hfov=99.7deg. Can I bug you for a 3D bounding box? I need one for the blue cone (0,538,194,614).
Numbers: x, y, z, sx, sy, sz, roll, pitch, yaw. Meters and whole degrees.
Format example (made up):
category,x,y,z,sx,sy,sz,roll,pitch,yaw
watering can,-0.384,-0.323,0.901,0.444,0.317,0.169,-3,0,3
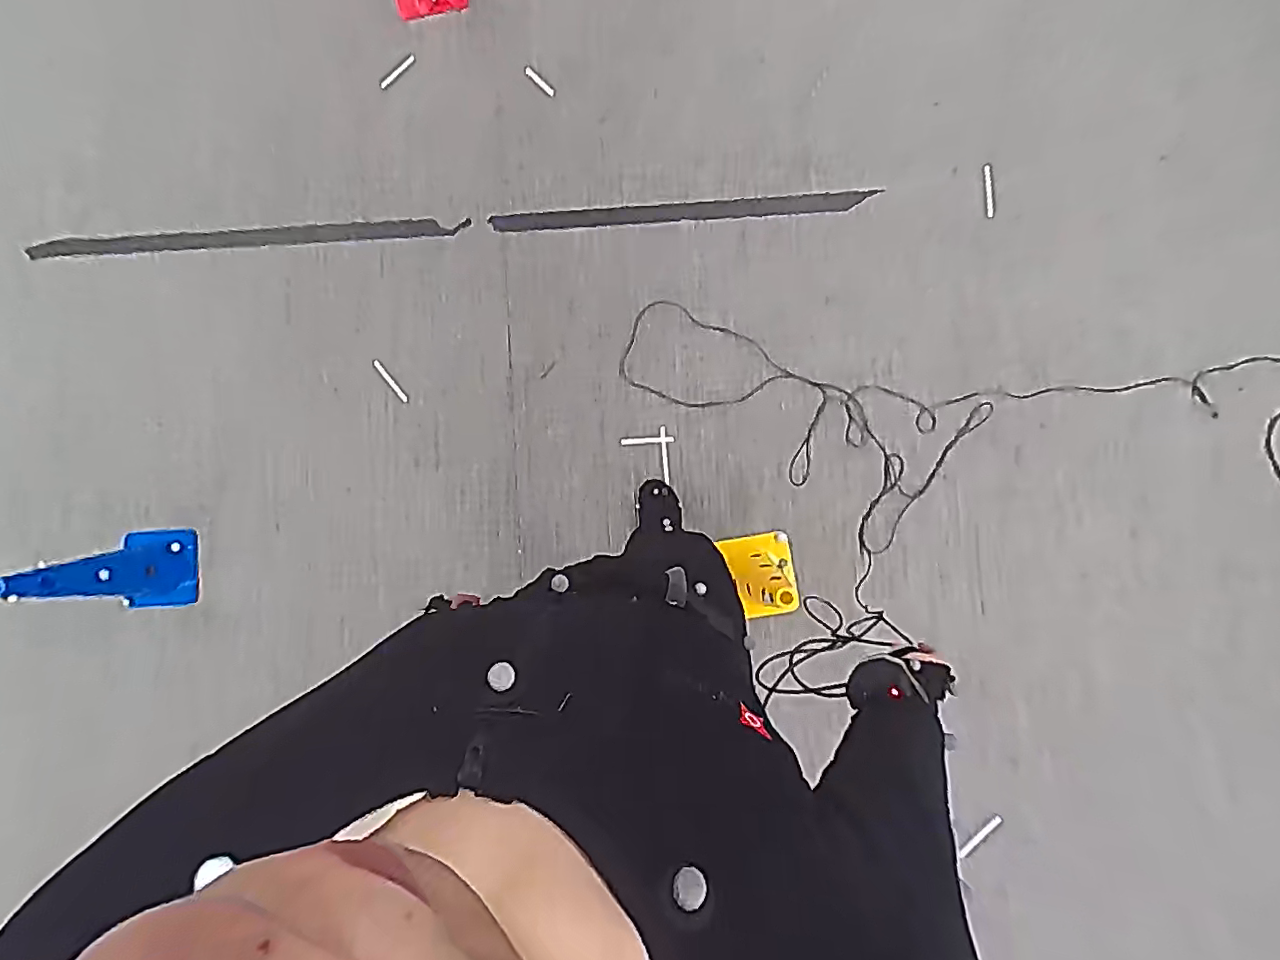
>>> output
category,x,y,z,sx,sy,sz,roll,pitch,yaw
blue cone,-1.263,0.241,1.242,0.193,0.380,0.192,-2,88,3
